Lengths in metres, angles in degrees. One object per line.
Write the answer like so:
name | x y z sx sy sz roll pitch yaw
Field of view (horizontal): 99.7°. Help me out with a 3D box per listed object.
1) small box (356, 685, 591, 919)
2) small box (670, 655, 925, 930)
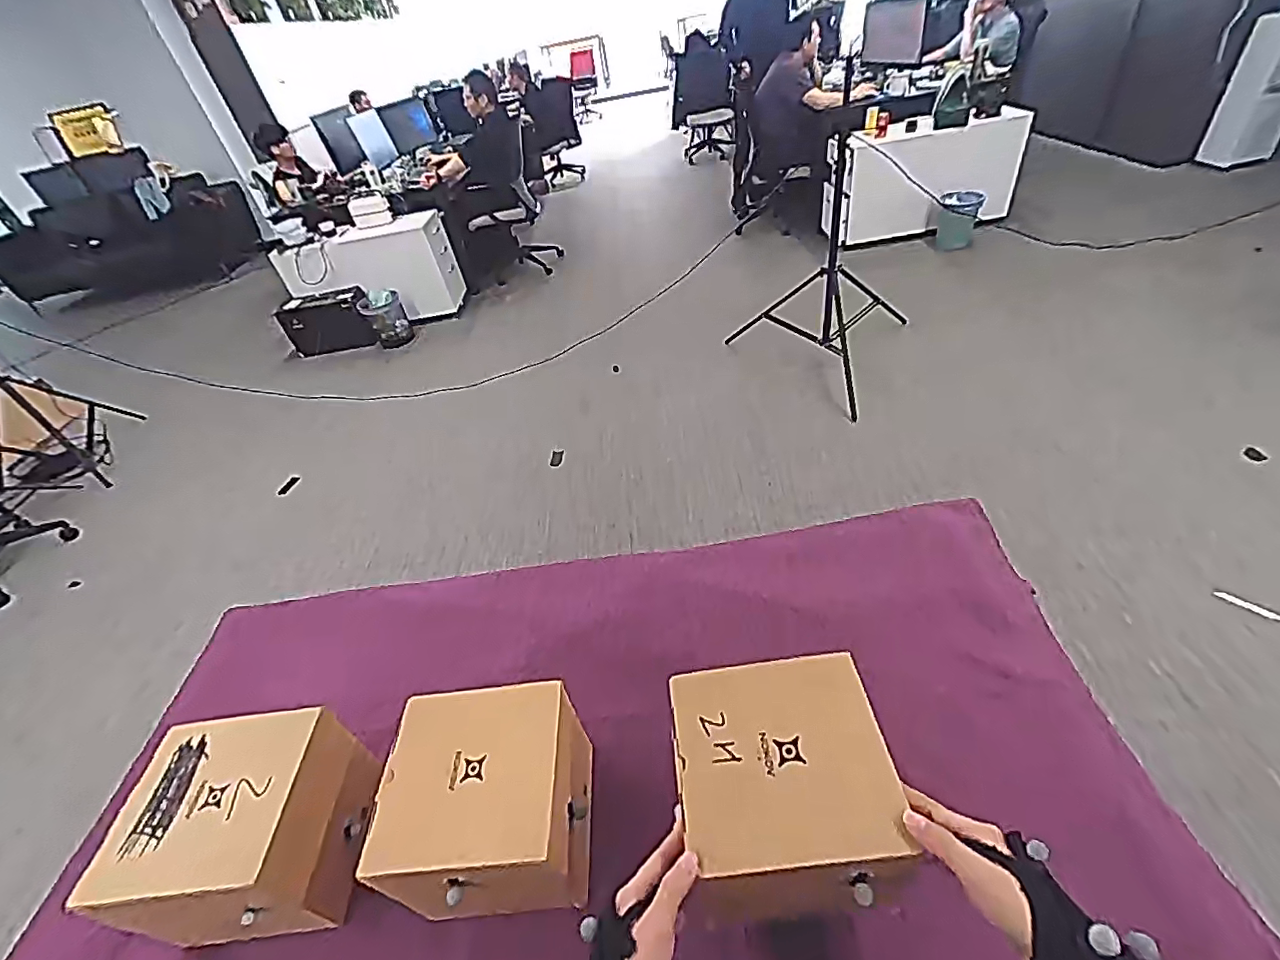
small box | -0.152 0.342 0.574 0.179 0.176 0.168 -9 40 5
small box | 0.130 0.290 0.502 0.179 0.176 0.168 -10 39 5
